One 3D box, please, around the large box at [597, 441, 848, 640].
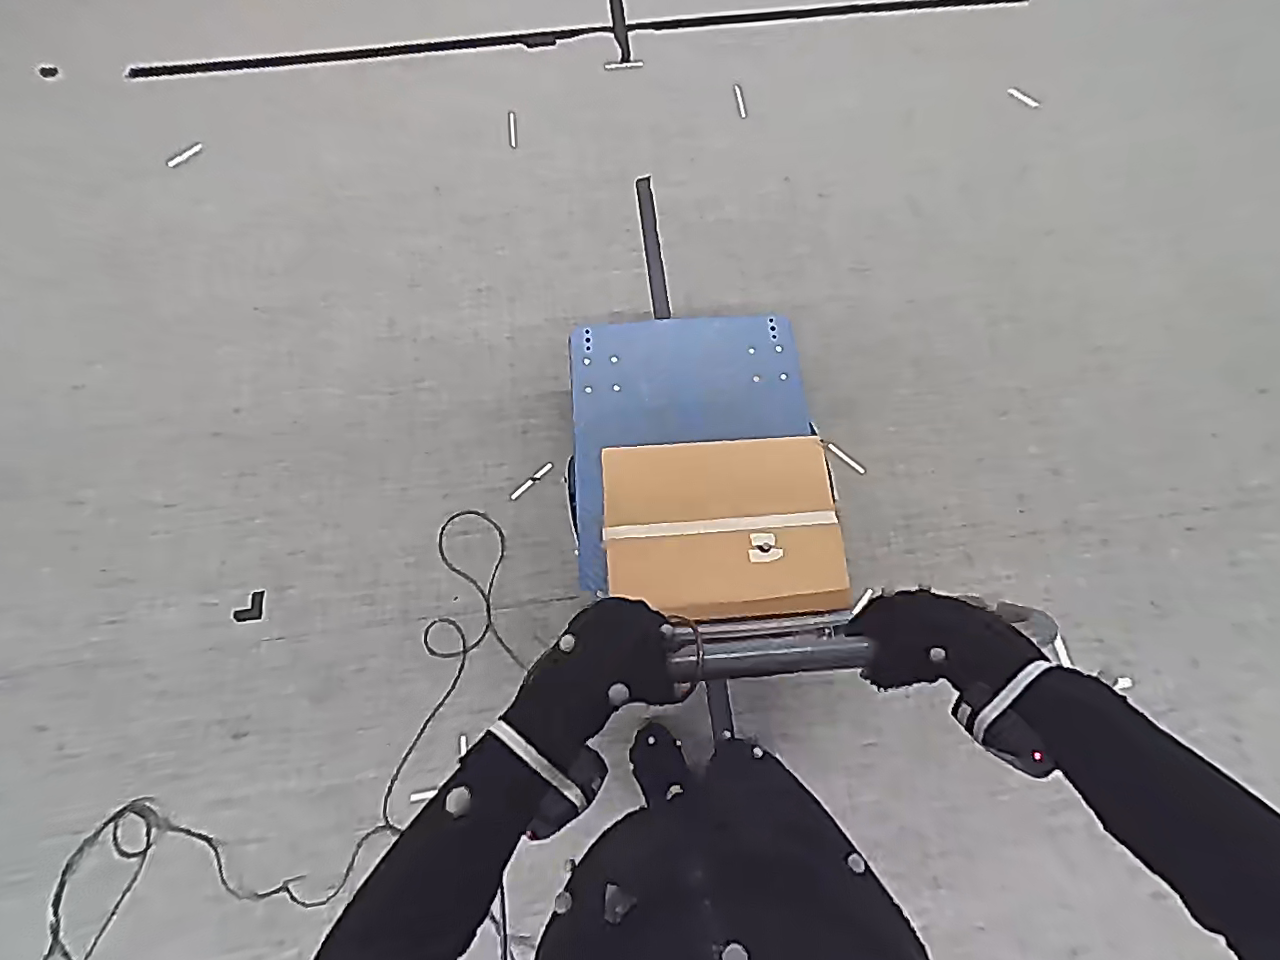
[{"bbox_3d":[0.130,0.135,1.069,0.408,0.320,0.320,-4,73,-3],"label":"large box"}]
